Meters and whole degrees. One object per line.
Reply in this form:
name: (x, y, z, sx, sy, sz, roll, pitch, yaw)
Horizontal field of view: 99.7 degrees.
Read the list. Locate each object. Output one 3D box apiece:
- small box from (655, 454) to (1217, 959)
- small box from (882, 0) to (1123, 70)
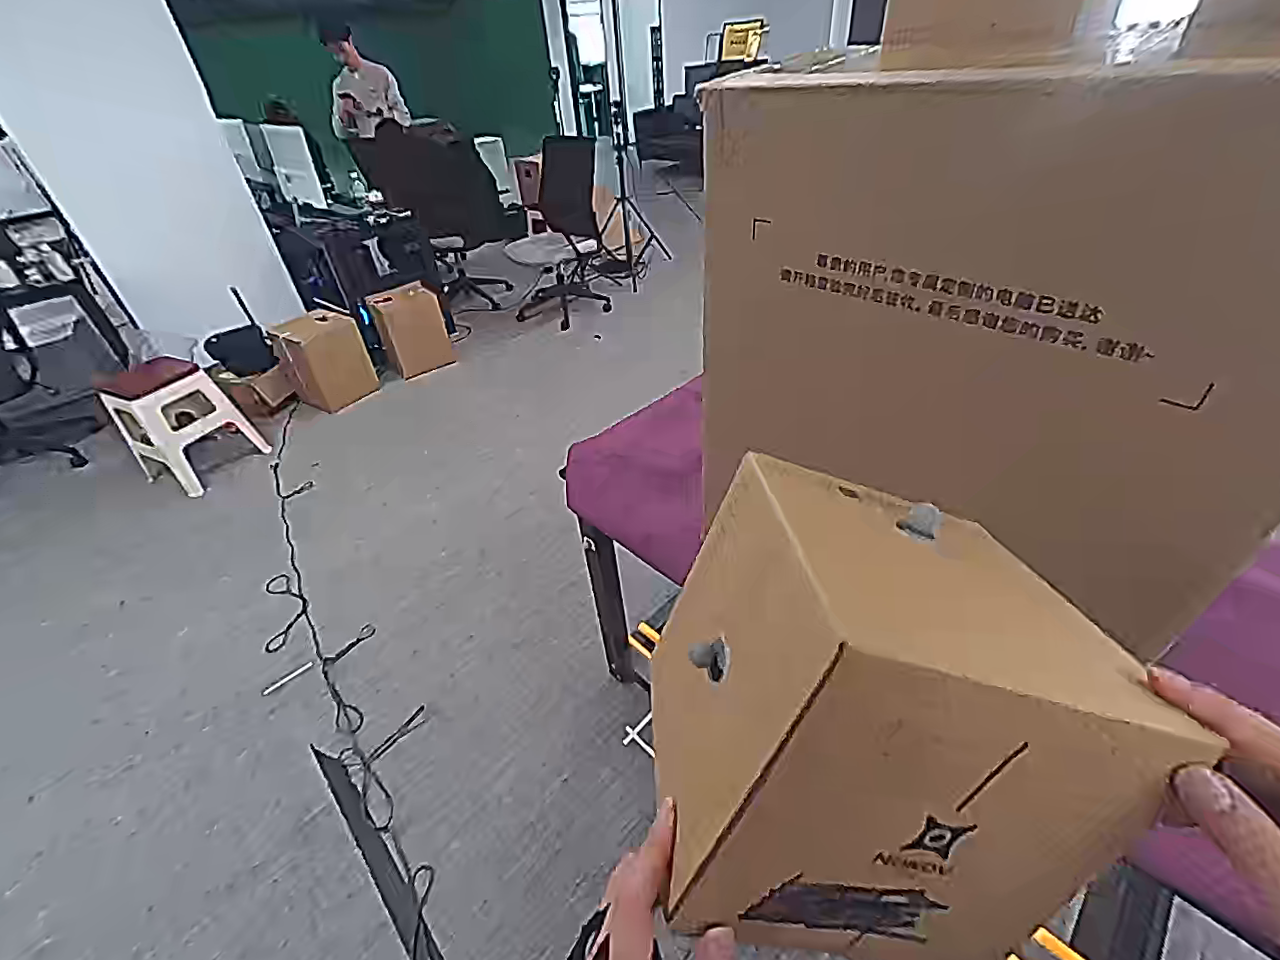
small box: (0.112, 0.111, 0.296, 0.168, 0.179, 0.176, 17, 23, -9)
small box: (0.364, -0.508, 0.522, 0.179, 0.176, 0.168, 31, 52, 34)
